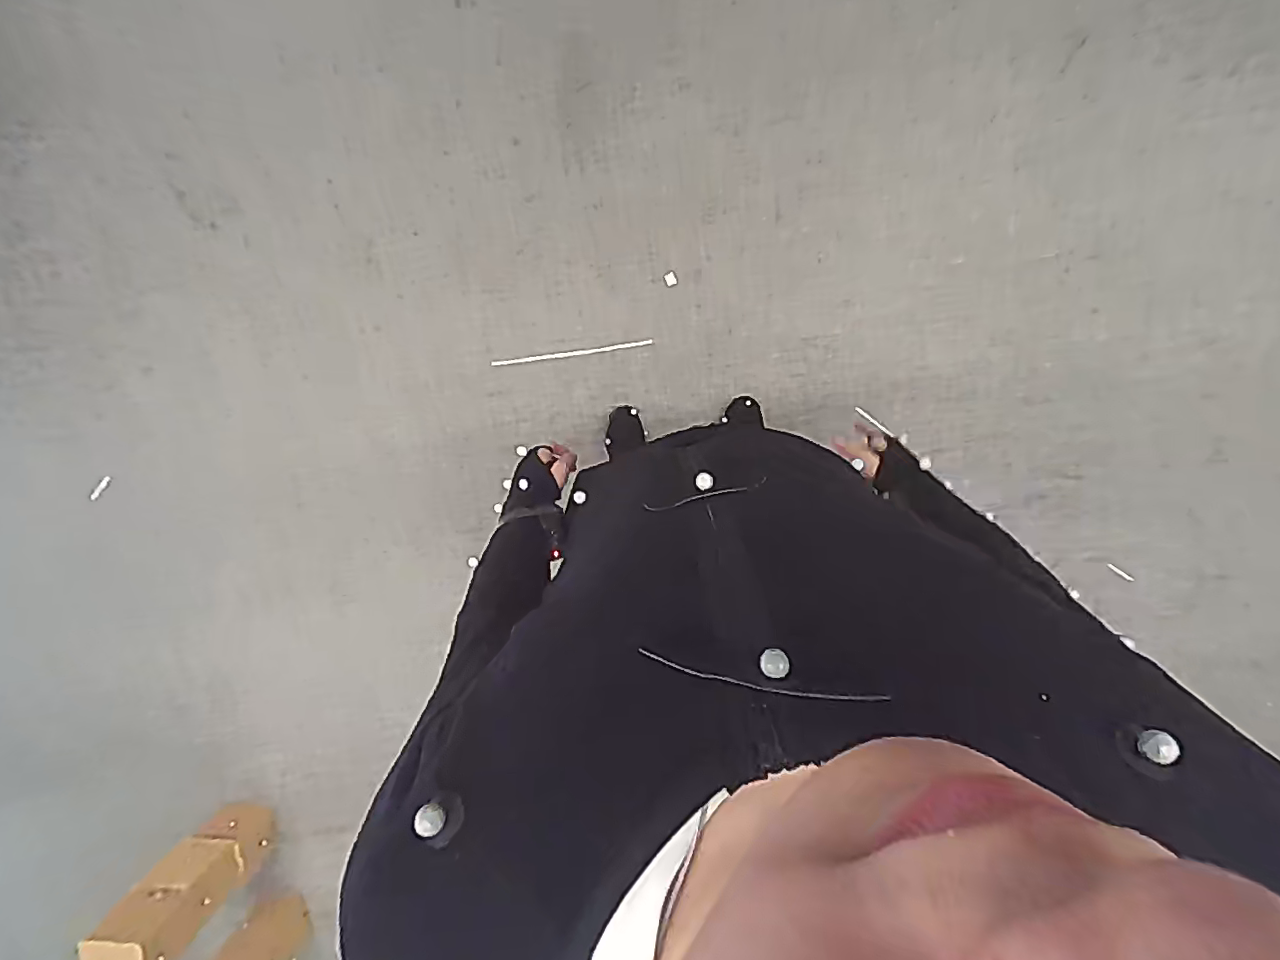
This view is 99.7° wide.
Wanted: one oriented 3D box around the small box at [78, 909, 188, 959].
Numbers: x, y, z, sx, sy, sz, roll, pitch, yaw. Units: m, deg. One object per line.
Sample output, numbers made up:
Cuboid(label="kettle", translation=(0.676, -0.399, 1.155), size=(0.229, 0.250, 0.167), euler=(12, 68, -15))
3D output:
Cuboid(label="small box", translation=(-1.349, 1.297, 1.437), size=(0.168, 0.176, 0.179), euler=(3, 98, 1))

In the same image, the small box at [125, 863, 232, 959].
Cuboid(label="small box", translation=(-1.353, 1.272, 1.598), size=(0.168, 0.176, 0.179), euler=(-1, 98, 3))

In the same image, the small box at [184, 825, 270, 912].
Cuboid(label="small box", translation=(-1.339, 1.260, 1.760), size=(0.179, 0.176, 0.168), euler=(0, 97, 1))
